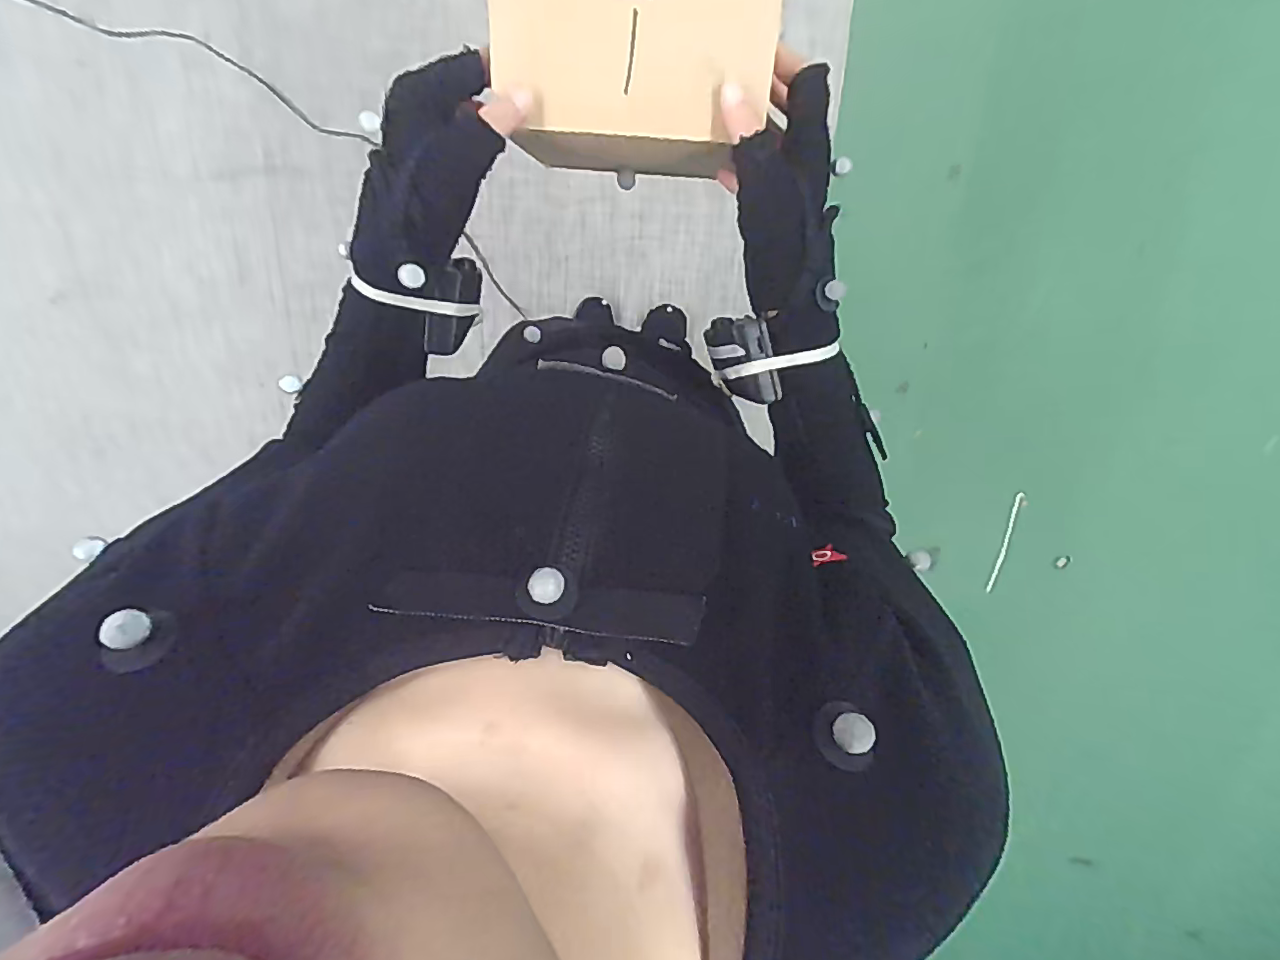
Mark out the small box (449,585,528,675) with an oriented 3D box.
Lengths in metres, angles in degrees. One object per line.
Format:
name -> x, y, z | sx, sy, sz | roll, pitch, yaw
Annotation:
small box -> -0.408, 0.402, 1.475 | 0.168, 0.176, 0.179 | 4, 108, 2
